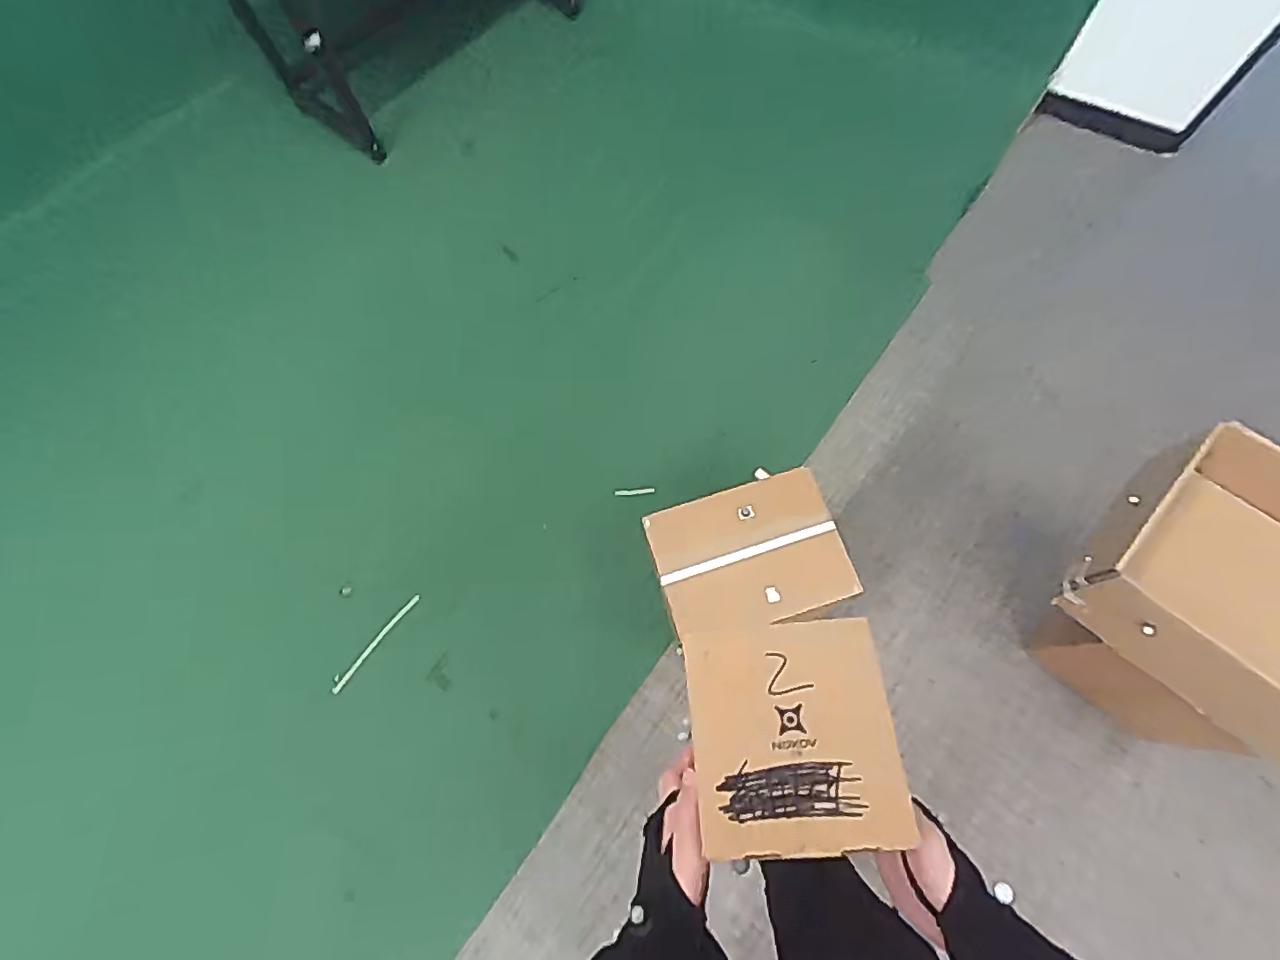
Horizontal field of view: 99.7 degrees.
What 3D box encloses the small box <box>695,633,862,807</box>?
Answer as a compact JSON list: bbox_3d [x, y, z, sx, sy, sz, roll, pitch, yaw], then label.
[{"bbox_3d":[0.156,0.292,0.670,0.168,0.176,0.179,-3,66,4],"label":"small box"}]
